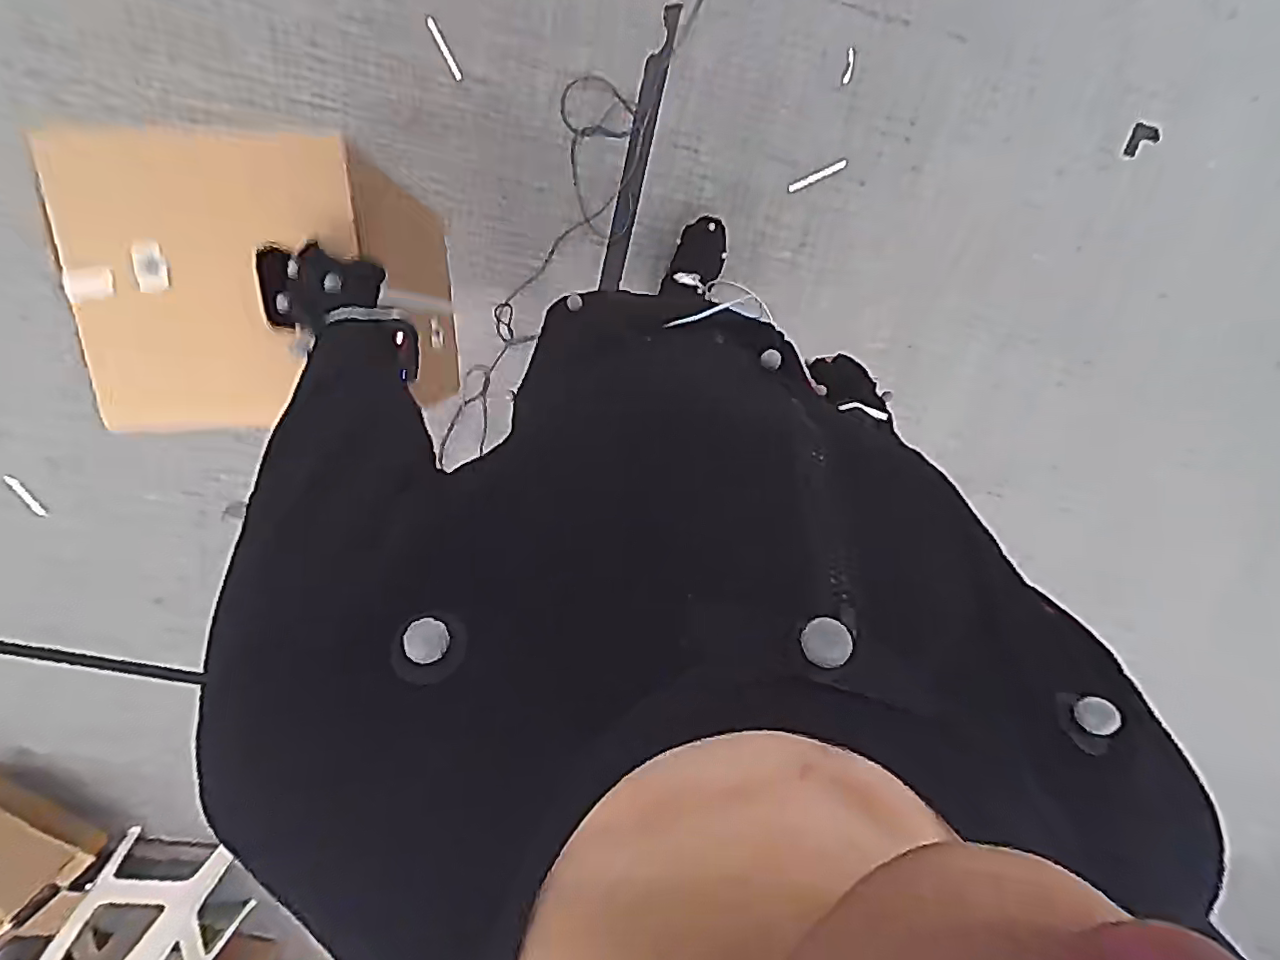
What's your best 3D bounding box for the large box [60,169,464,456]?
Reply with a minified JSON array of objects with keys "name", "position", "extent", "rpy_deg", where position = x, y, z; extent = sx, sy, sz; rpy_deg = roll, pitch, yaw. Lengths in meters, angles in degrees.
[{"name":"large box","position":[-0.480,-0.235,0.806],"extent":[0.320,0.408,0.320],"rpy_deg":[-4,104,-5]}]
